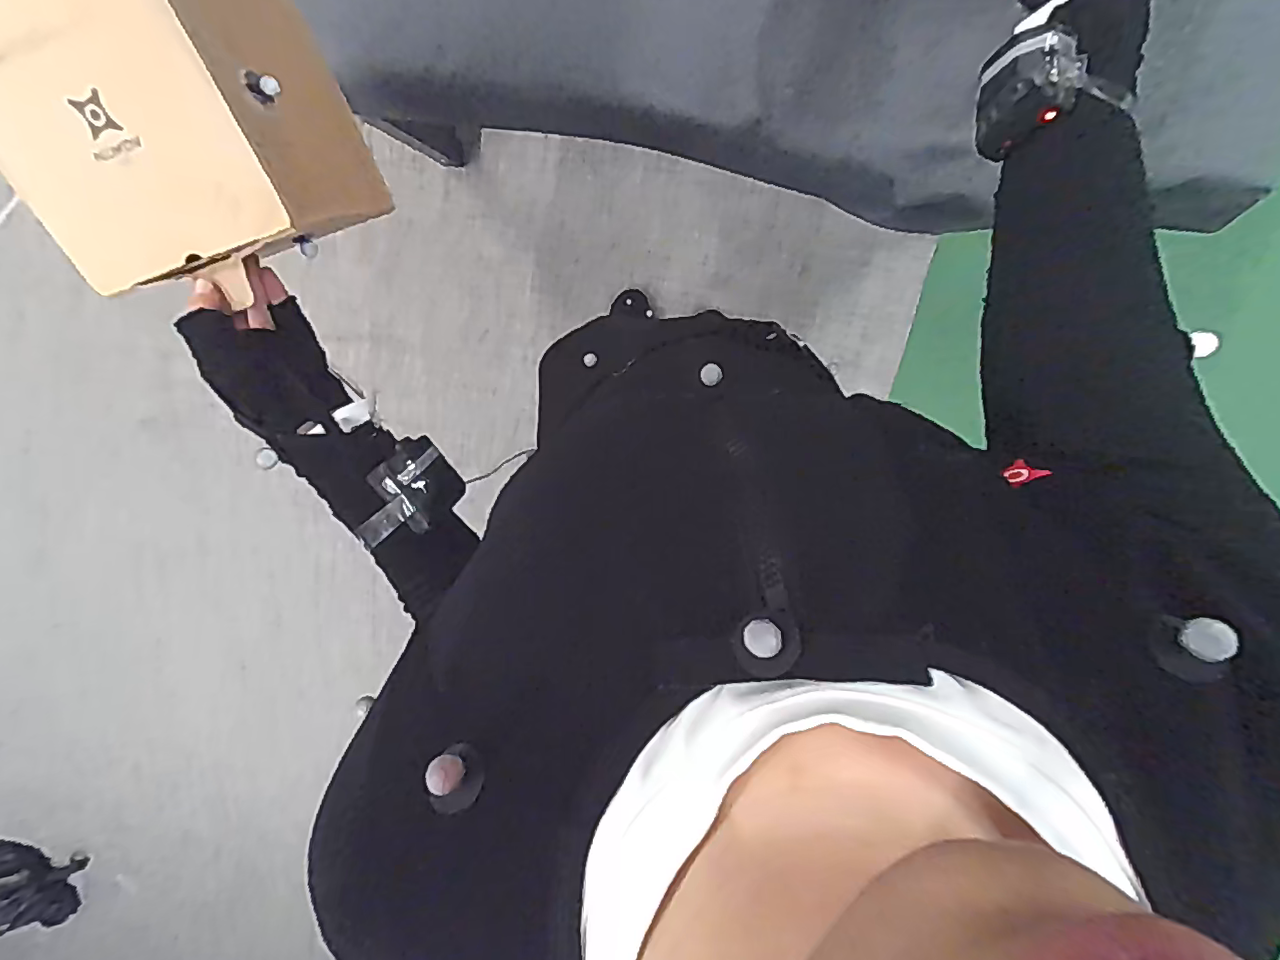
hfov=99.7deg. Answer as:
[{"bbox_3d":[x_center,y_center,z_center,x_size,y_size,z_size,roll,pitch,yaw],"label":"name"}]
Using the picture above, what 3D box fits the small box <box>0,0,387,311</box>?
[{"bbox_3d":[-0.326,-0.250,0.400,0.168,0.176,0.179,-15,118,9],"label":"small box"}]
